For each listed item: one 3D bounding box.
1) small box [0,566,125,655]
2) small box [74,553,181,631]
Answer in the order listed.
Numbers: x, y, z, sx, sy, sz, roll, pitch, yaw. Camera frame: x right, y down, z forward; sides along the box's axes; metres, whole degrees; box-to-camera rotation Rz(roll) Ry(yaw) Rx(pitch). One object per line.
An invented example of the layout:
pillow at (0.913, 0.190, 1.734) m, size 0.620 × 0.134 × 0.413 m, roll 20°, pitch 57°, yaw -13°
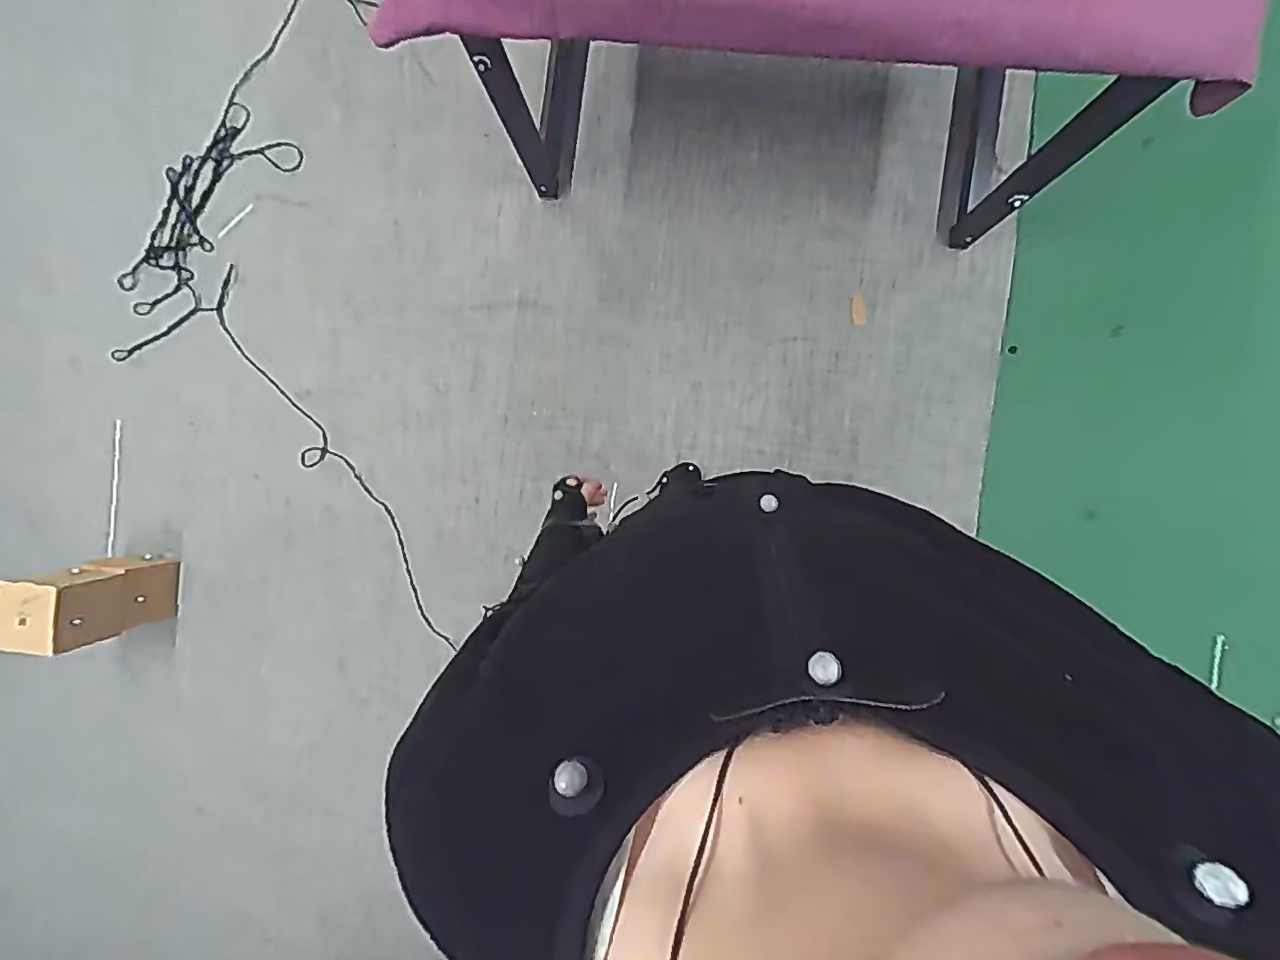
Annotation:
small box at (-1.489, 0.330, 1.396) m, size 0.168 × 0.176 × 0.179 m, roll 6°, pitch 91°, yaw 3°
small box at (-1.476, 0.318, 1.559) m, size 0.168 × 0.176 × 0.179 m, roll 6°, pitch 91°, yaw 4°
